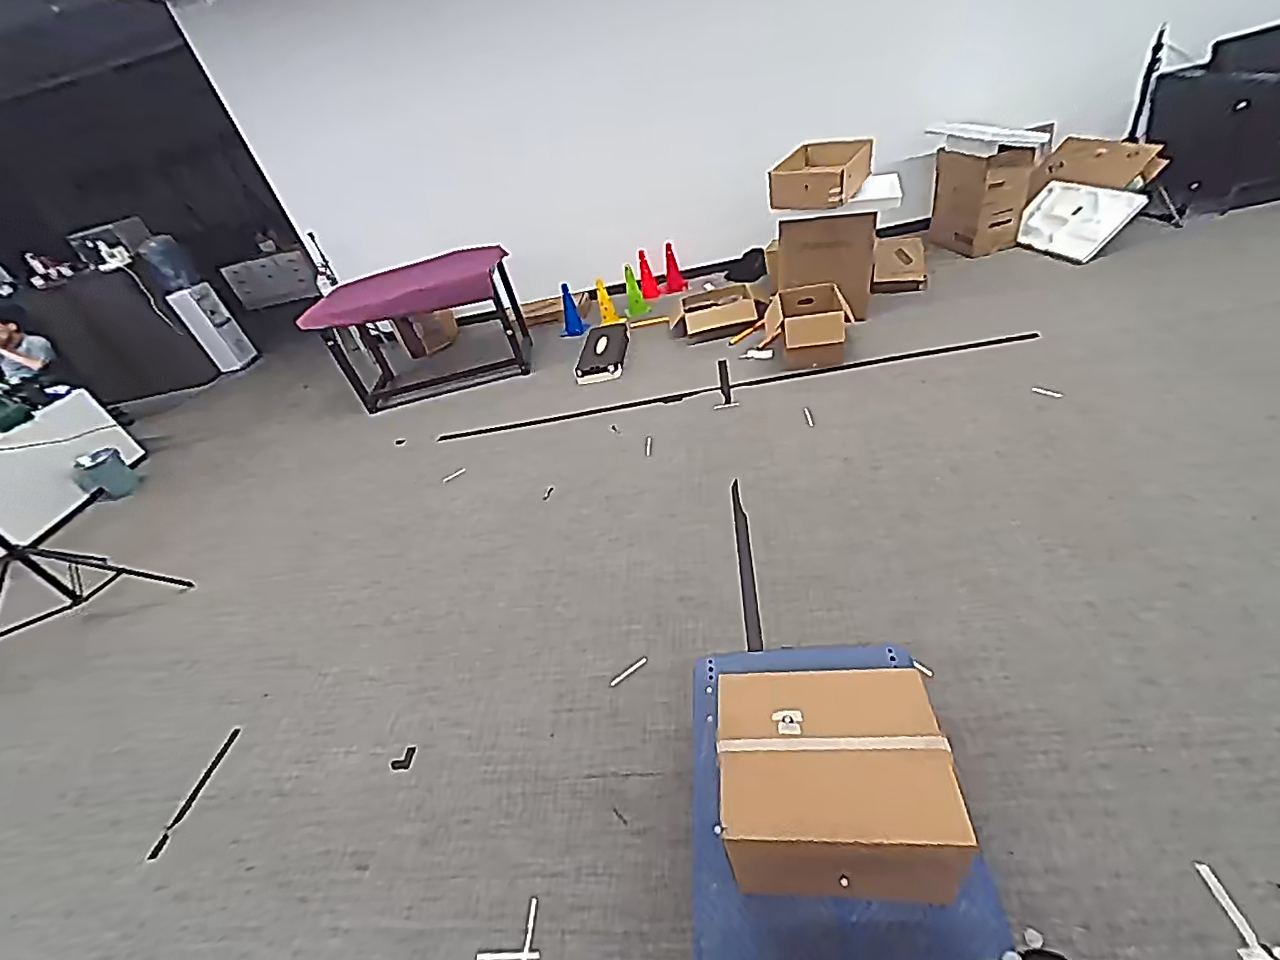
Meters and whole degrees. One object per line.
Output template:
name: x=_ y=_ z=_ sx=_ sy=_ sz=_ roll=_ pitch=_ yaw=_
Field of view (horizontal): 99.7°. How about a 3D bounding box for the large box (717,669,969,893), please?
large box: x=0.385 y=0.621 z=1.111 sx=0.408 sy=0.320 sz=0.320 roll=-8 pitch=37 yaw=12
